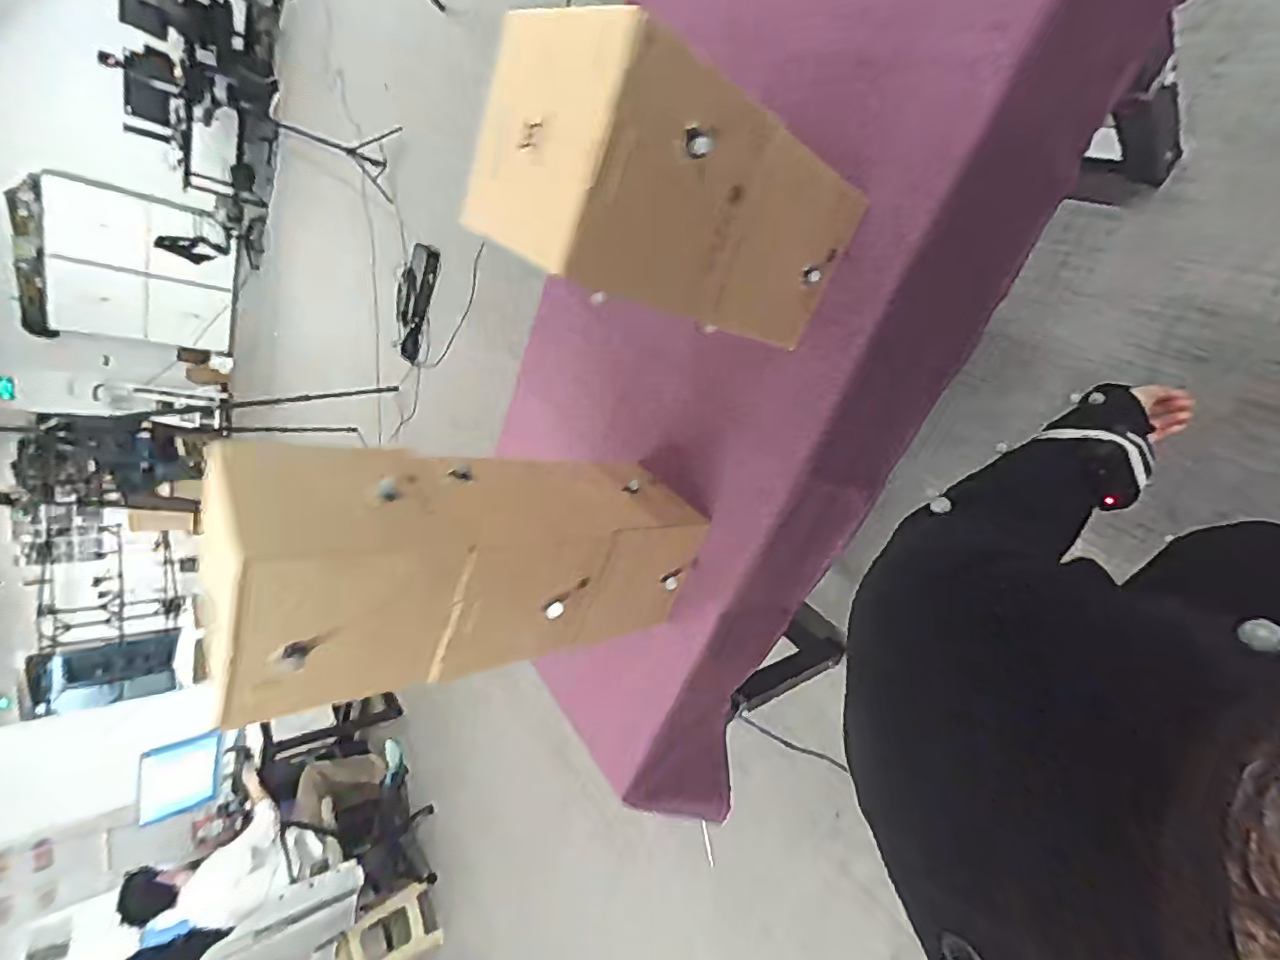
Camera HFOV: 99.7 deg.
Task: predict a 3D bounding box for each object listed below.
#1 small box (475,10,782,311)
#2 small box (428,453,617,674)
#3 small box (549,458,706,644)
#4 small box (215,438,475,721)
[{"bbox_3d":[-0.012,-0.259,0.466,0.179,0.176,0.168,41,118,37],"label":"small box"},{"bbox_3d":[-0.158,0.084,0.616,0.179,0.176,0.168,41,119,37],"label":"small box"},{"bbox_3d":[-0.037,0.086,0.729,0.168,0.176,0.179,39,116,39],"label":"small box"},{"bbox_3d":[-0.274,0.080,0.500,0.168,0.176,0.179,43,118,37],"label":"small box"}]
